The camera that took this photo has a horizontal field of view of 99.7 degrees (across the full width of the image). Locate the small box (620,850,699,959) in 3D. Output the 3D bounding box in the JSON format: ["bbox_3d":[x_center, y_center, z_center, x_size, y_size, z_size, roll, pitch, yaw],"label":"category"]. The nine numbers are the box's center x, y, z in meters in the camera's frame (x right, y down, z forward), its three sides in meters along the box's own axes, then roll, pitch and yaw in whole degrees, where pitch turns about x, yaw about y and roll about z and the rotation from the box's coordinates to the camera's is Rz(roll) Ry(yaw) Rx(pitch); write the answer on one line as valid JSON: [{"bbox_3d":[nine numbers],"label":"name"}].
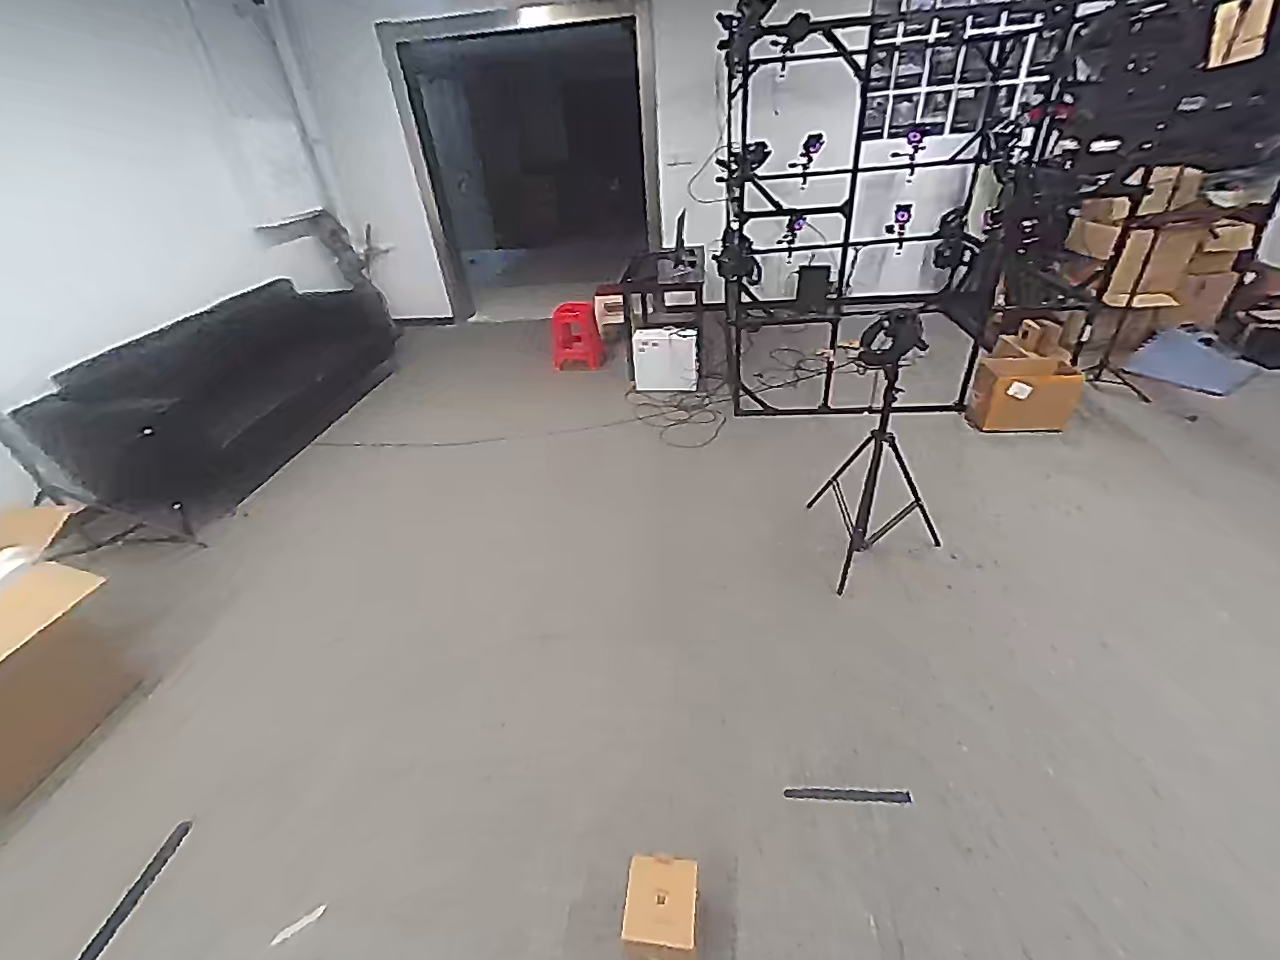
[{"bbox_3d":[0.054,1.043,1.313,0.168,0.176,0.179,0,33,10],"label":"small box"}]
